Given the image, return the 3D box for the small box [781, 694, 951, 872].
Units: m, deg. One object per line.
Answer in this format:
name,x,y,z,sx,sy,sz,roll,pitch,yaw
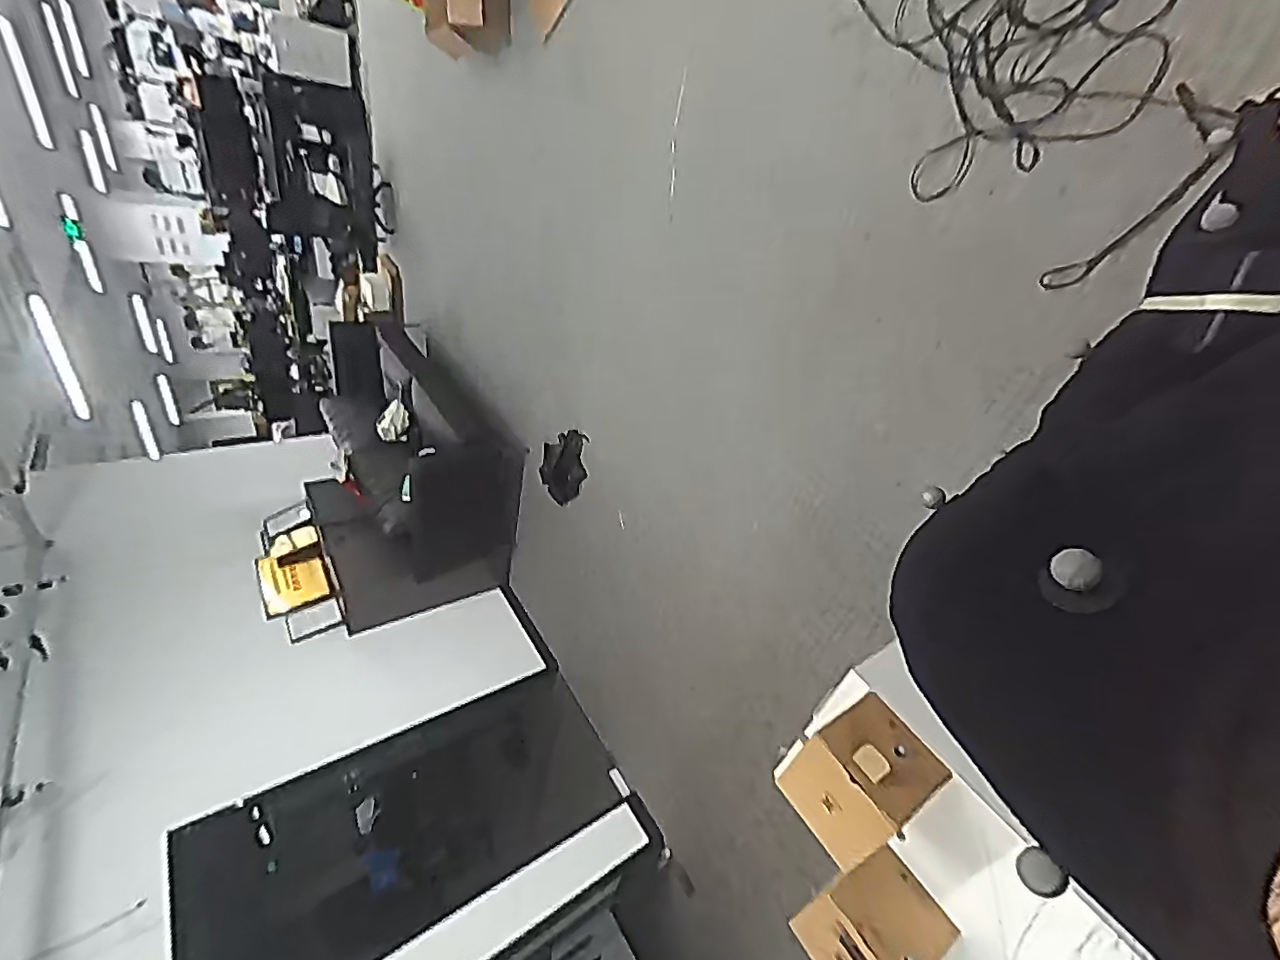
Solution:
small box,0.376,0.499,0.905,0.168,0.176,0.179,47,136,36
